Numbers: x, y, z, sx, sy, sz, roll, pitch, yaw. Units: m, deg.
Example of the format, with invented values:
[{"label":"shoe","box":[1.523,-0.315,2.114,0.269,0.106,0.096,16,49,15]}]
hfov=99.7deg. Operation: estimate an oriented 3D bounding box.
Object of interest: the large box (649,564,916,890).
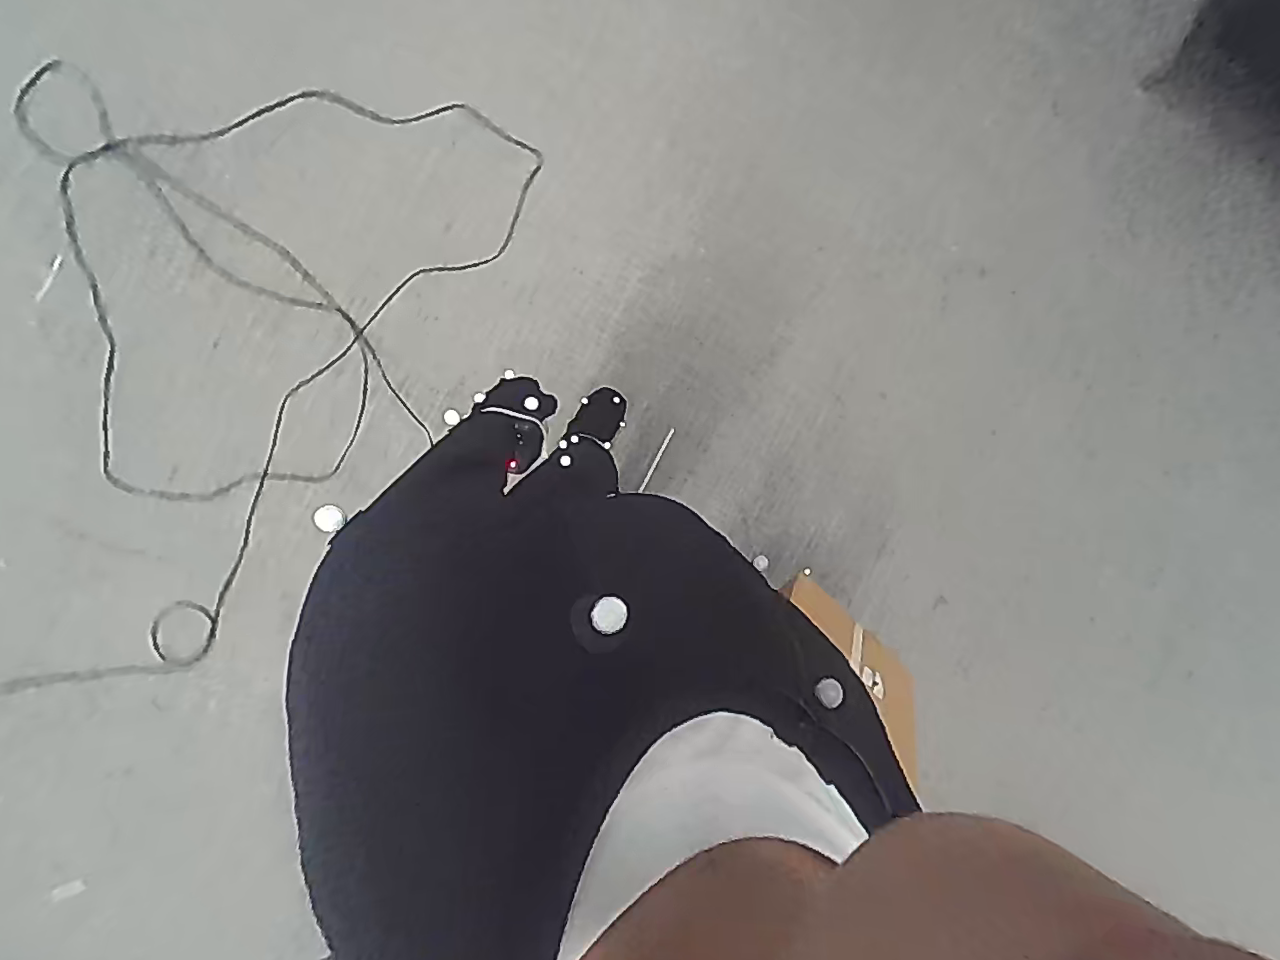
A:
[{"label":"large box","box":[0.277,0.444,1.028,0.320,0.408,0.320,43,122,4]}]
